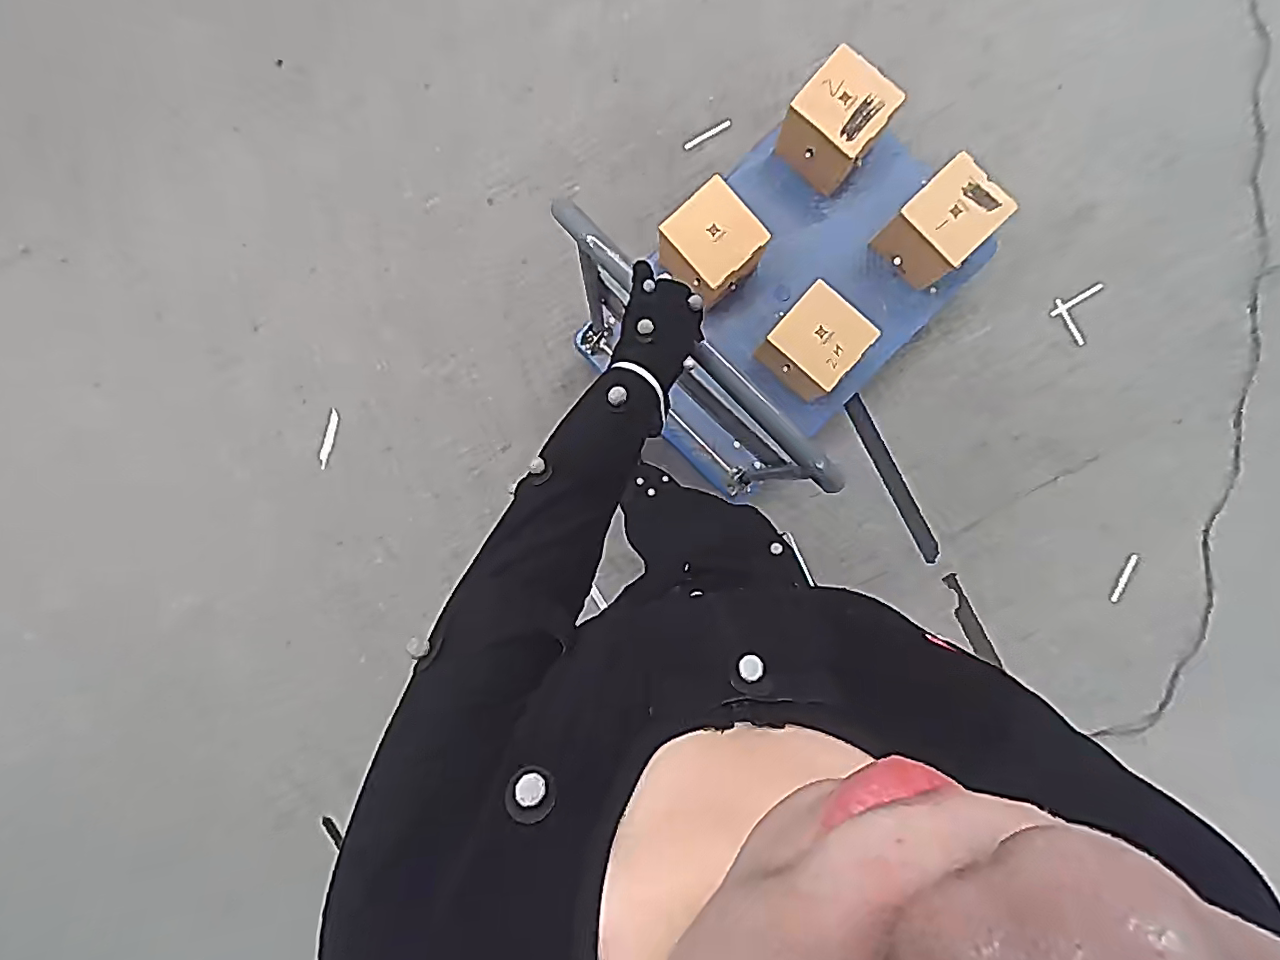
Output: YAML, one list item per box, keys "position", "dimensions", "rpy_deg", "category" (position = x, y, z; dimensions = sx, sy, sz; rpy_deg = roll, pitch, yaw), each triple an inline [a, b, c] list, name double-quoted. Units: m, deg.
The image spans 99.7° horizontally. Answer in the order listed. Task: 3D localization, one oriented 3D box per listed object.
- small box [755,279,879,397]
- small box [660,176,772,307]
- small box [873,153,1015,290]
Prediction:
- position: [0.379, -0.301, 1.196]
  dimensions: [0.179, 0.176, 0.168]
  rpy_deg: [42, 92, 0]
  category: "small box"
- position: [0.156, -0.516, 1.197]
  dimensions: [0.168, 0.176, 0.179]
  rpy_deg: [-42, 92, 2]
  category: "small box"
- position: [0.650, -0.553, 1.181]
  dimensions: [0.179, 0.176, 0.168]
  rpy_deg: [-44, 90, 4]
  category: "small box"
